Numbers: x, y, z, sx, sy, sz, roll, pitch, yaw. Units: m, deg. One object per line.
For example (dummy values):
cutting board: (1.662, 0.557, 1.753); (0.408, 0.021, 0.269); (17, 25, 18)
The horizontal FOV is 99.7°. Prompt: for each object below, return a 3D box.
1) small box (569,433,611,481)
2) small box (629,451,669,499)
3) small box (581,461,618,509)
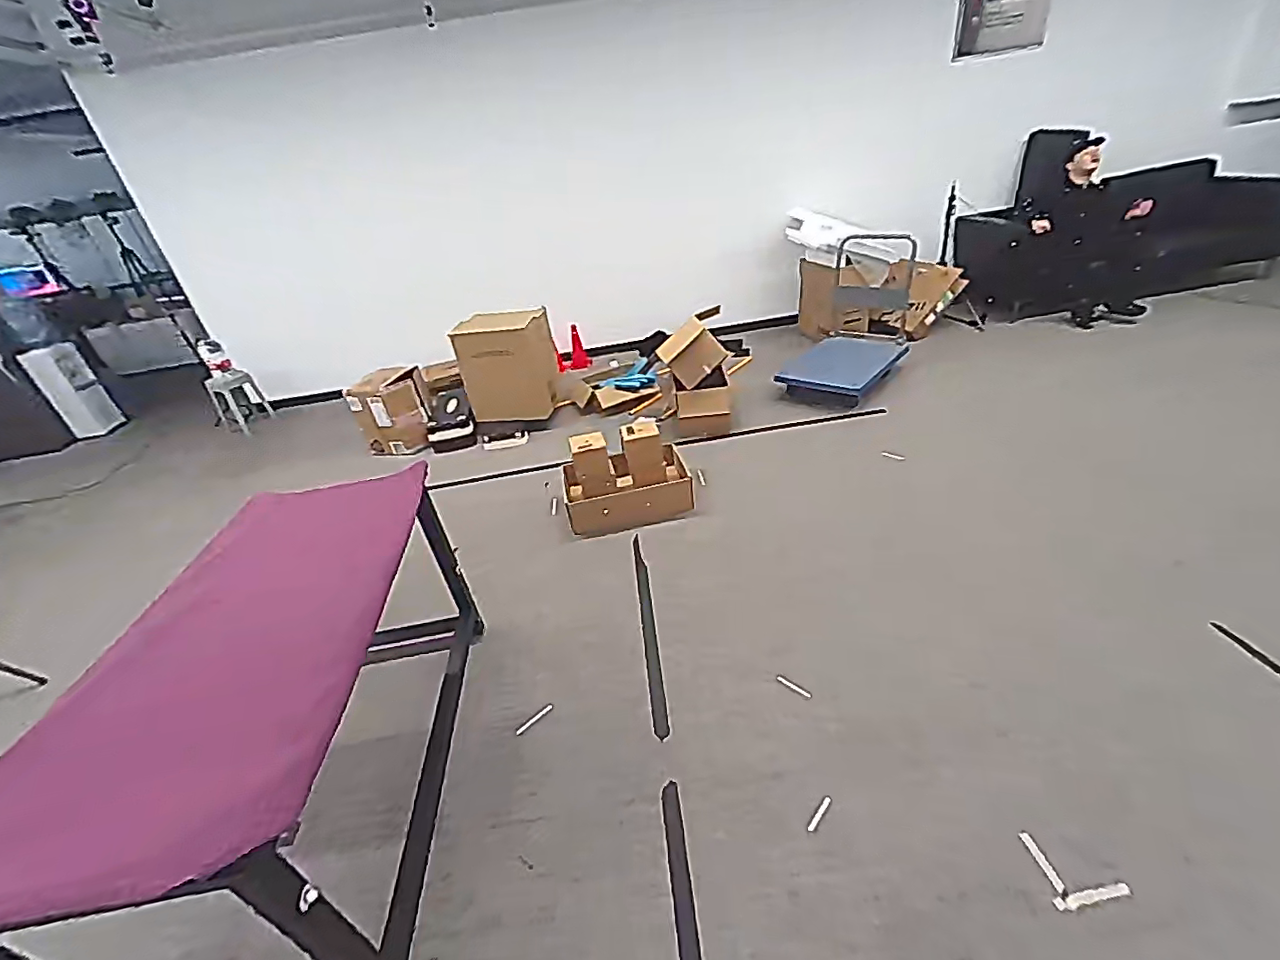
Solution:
small box: (-0.246, -0.107, 2.658); (0.168, 0.176, 0.179); (-12, 30, -8)
small box: (0.043, -0.026, 2.774); (0.168, 0.176, 0.179); (-13, 31, -4)
small box: (-0.209, 0.026, 2.750); (0.179, 0.176, 0.168); (-12, 30, -7)
